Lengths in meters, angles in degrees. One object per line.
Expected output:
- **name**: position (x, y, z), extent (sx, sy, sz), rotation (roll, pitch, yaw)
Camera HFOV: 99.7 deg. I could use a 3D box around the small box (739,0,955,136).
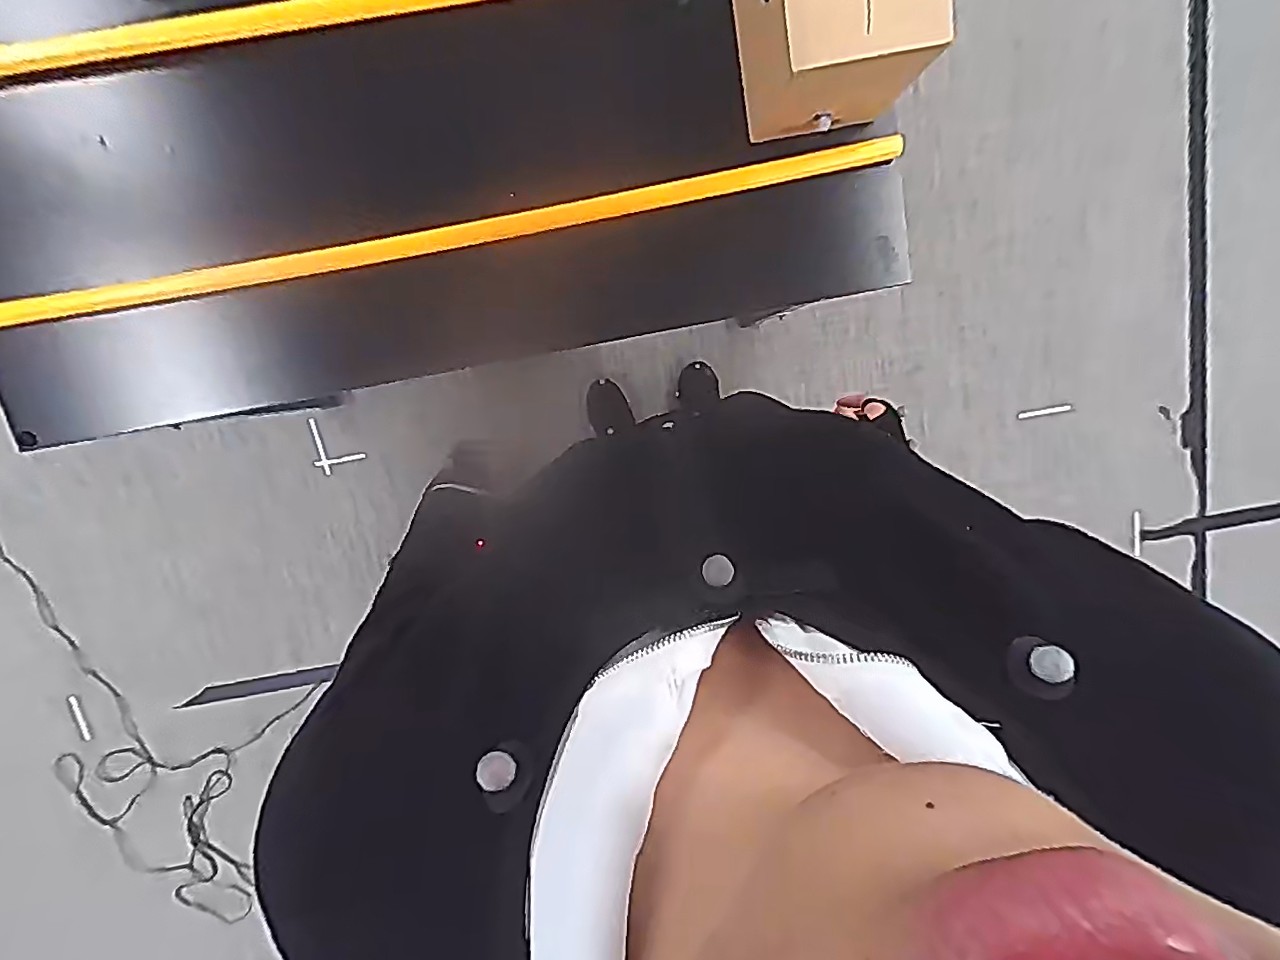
- **small box**: position (0.213, -0.518, 0.594), extent (0.168, 0.176, 0.179), rotation (-10, 101, 0)
